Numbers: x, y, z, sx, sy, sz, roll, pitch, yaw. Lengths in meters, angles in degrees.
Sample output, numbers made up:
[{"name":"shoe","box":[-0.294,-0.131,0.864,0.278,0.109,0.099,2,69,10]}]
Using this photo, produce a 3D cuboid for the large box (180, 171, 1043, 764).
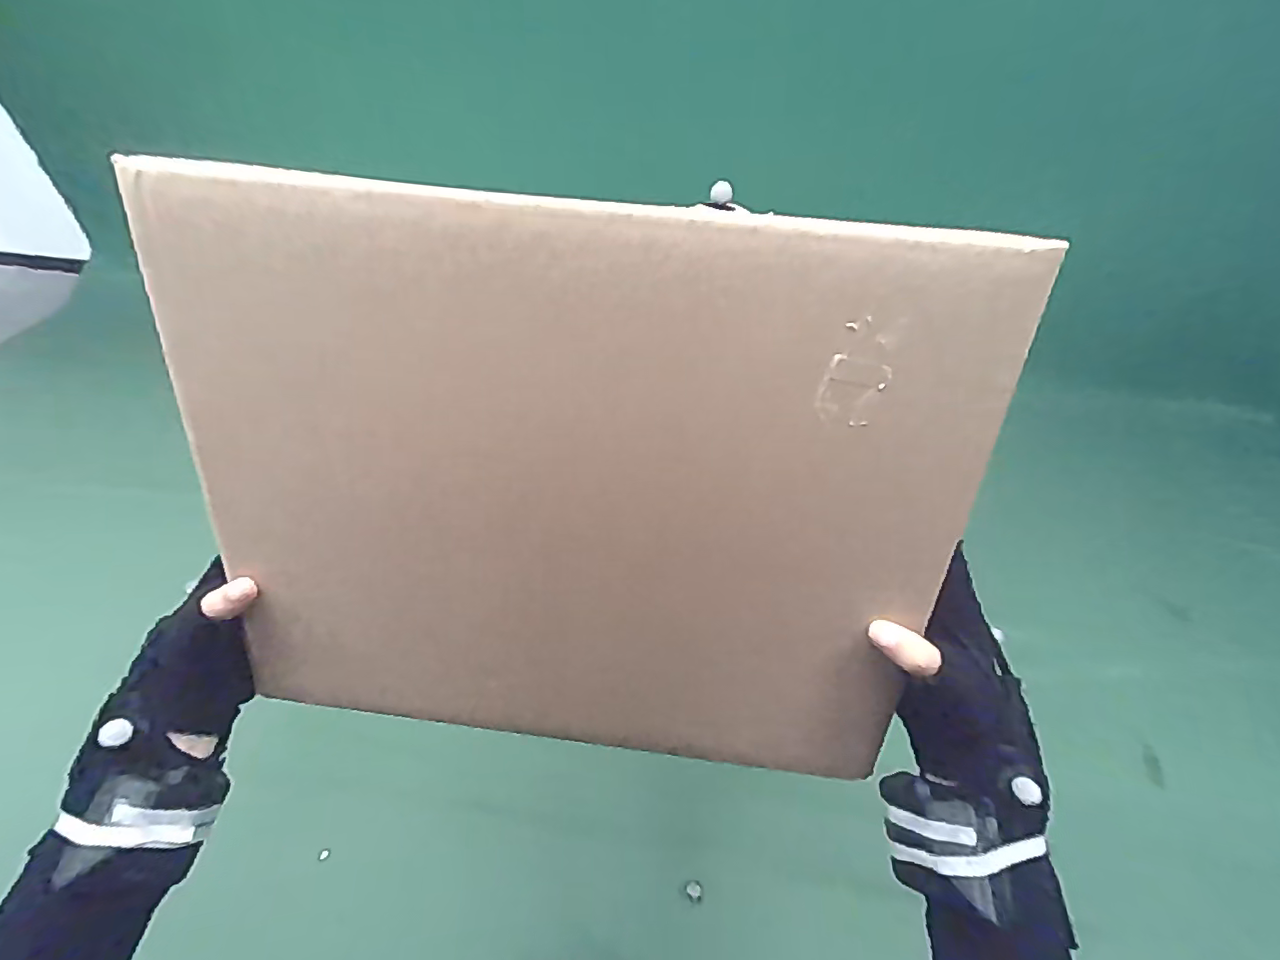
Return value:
[{"name":"large box","box":[-0.023,-0.030,0.434,0.408,0.320,0.320,8,23,3]}]
